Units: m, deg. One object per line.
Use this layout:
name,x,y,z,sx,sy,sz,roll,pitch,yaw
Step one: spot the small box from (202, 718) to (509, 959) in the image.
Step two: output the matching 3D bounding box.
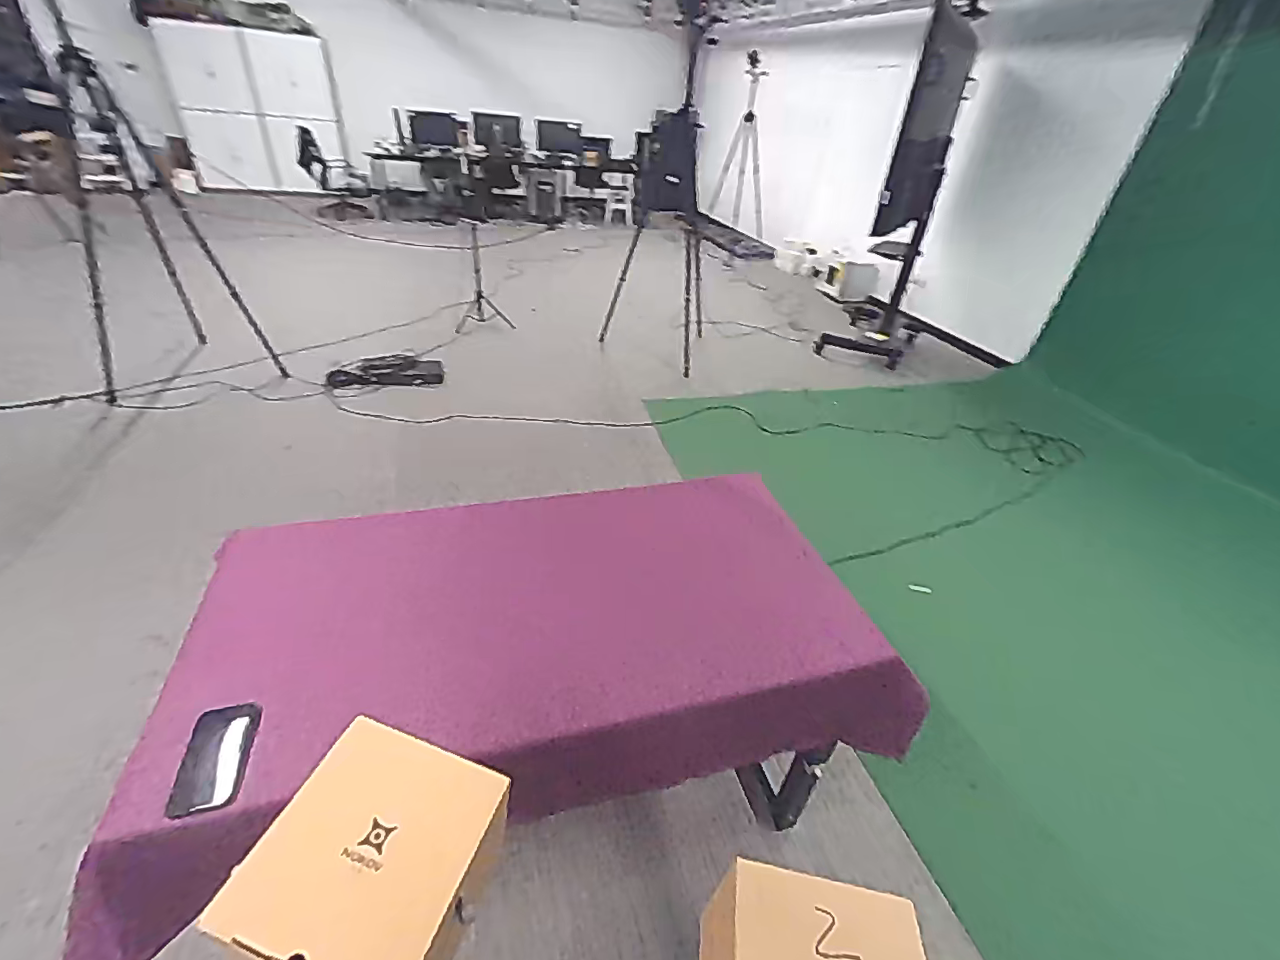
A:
small box,-0.240,0.366,0.499,0.168,0.176,0.179,19,37,5
